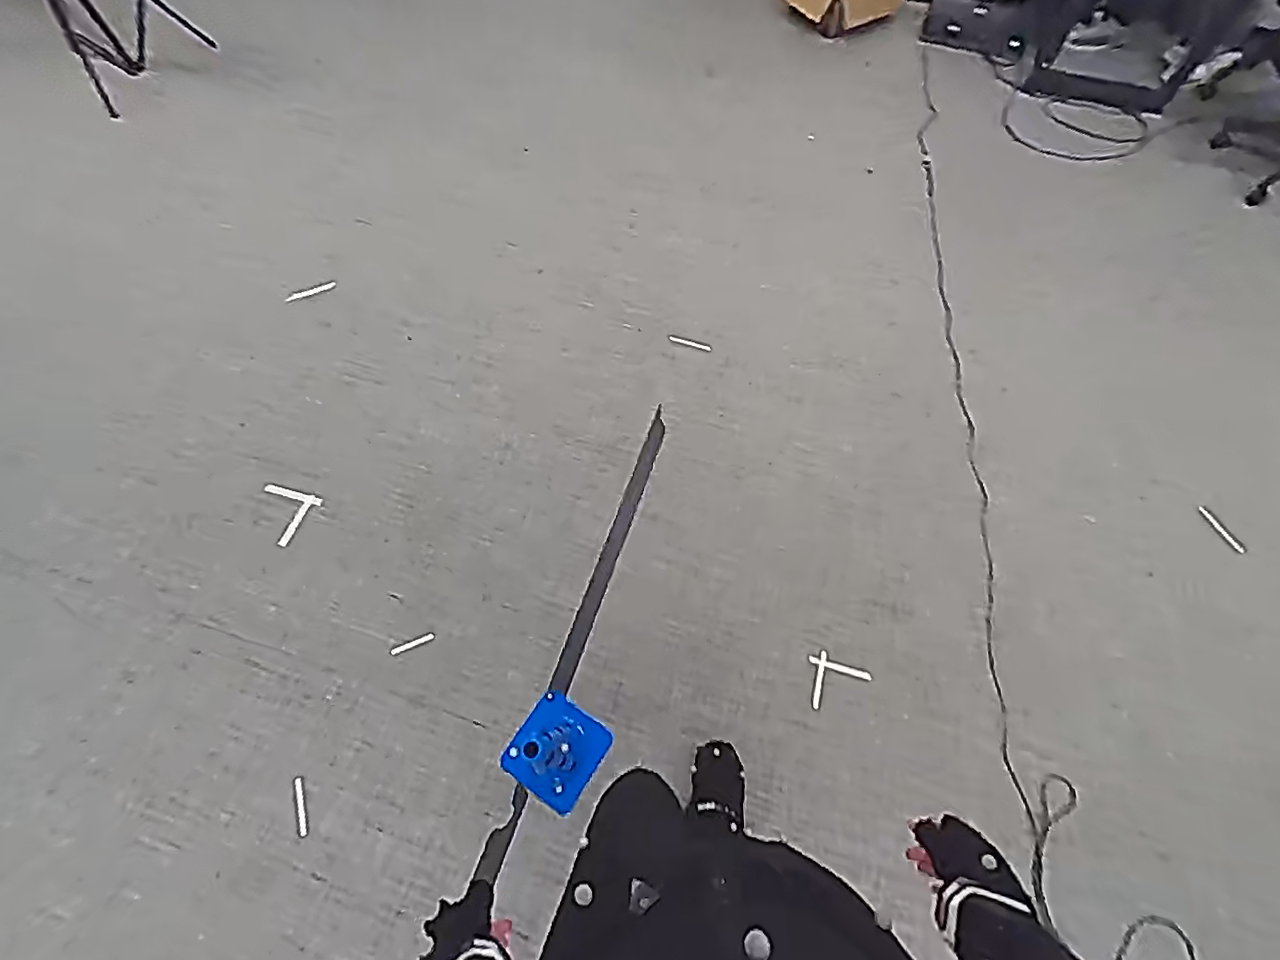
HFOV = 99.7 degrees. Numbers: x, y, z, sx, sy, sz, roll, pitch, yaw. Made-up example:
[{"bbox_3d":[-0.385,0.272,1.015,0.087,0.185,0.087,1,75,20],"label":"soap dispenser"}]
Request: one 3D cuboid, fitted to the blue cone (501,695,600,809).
[{"bbox_3d":[-0.206,0.554,1.109,0.192,0.380,0.193,32,67,15],"label":"blue cone"}]
